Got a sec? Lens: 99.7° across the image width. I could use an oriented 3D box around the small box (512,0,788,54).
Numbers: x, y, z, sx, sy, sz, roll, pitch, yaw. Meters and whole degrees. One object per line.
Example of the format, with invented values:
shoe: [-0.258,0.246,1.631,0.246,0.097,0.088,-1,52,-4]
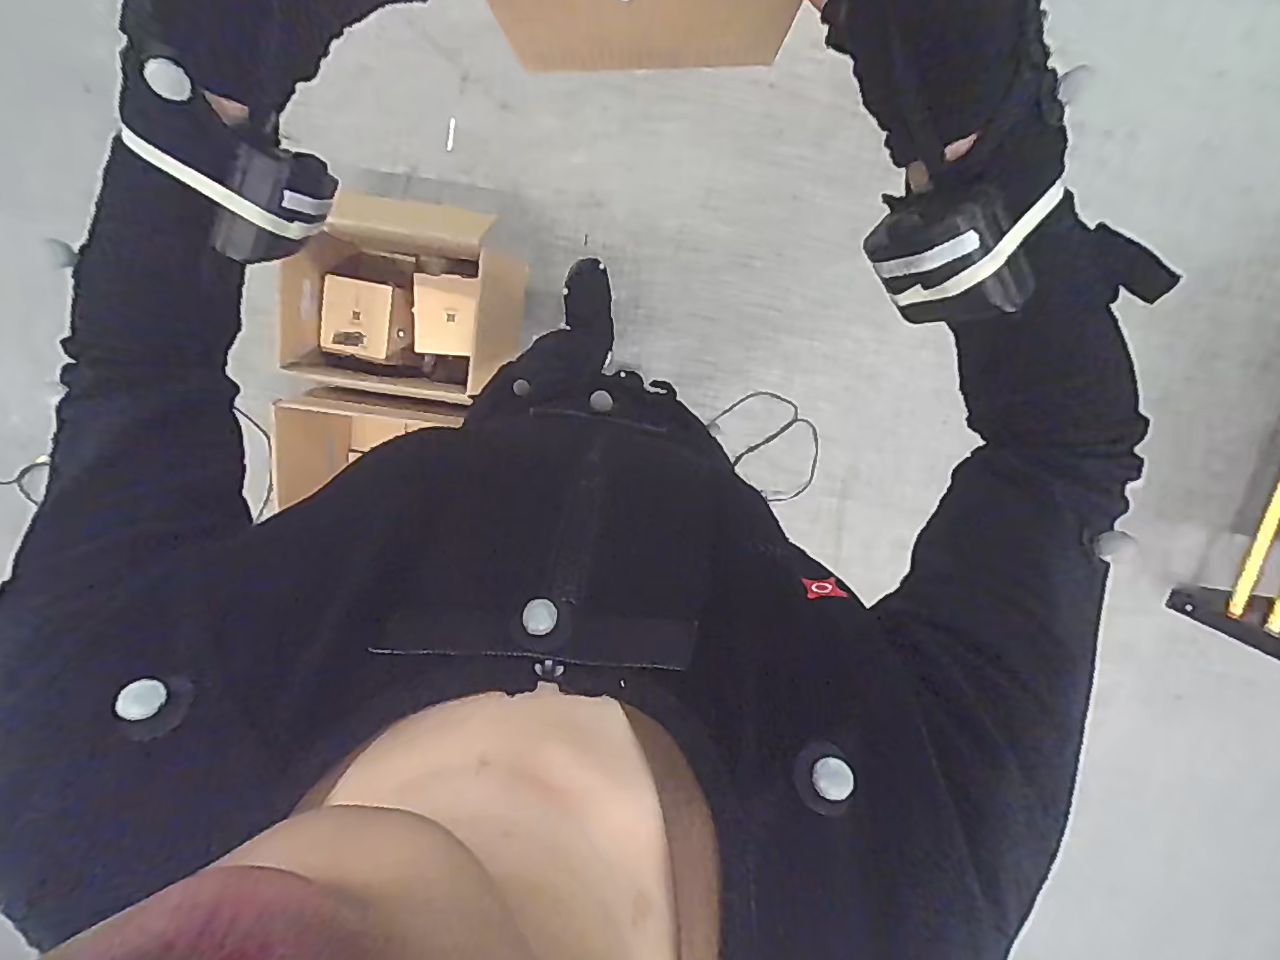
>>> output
small box: [0.006,-0.350,0.278,0.179,0.176,0.168,0,109,0]
